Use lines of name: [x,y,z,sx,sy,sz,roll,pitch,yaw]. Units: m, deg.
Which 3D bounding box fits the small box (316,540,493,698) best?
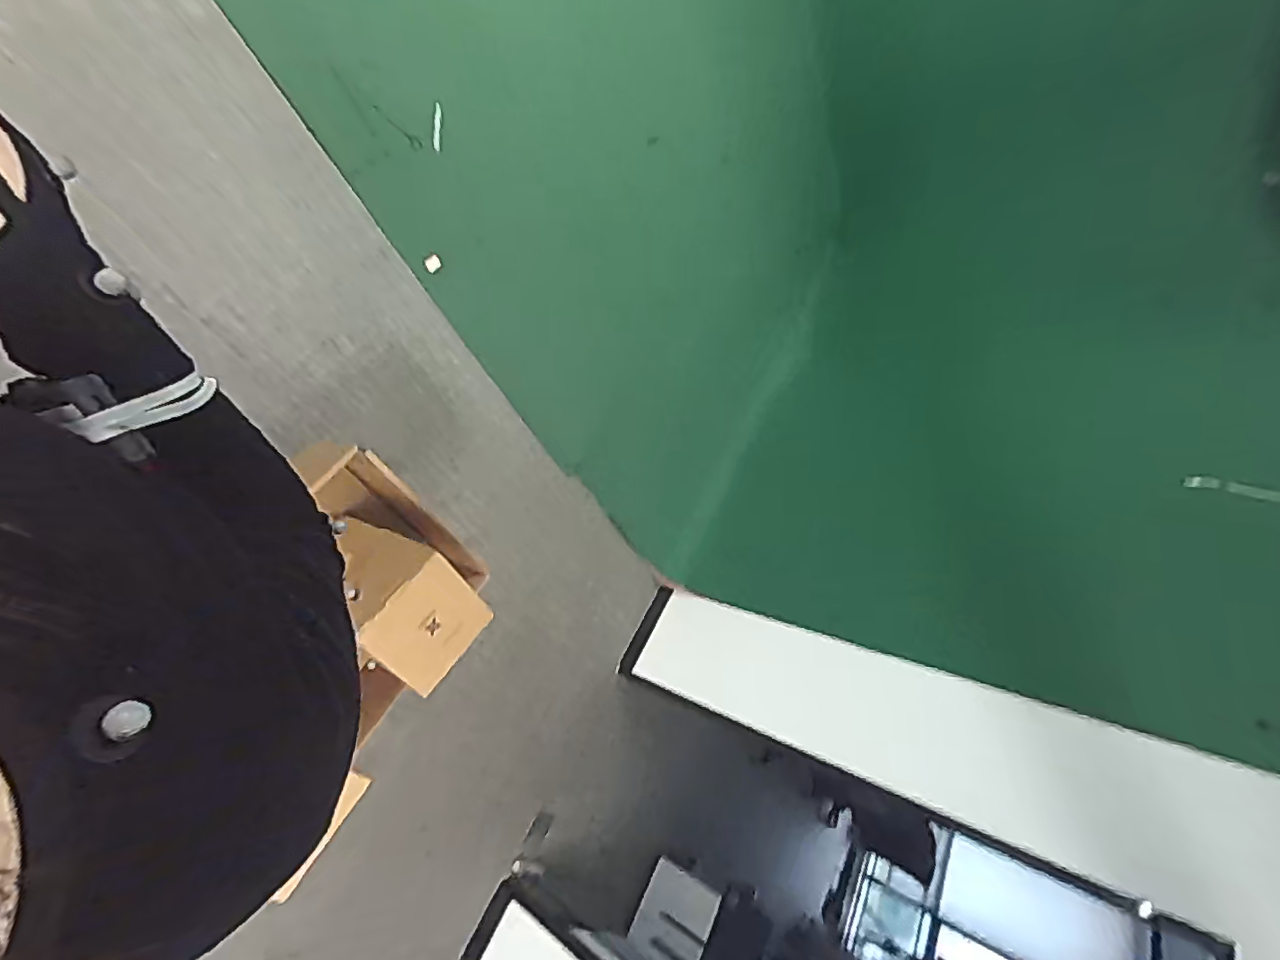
small box: [-0.386,0.217,0.889,0.168,0.176,0.179,-51,134,-30]
